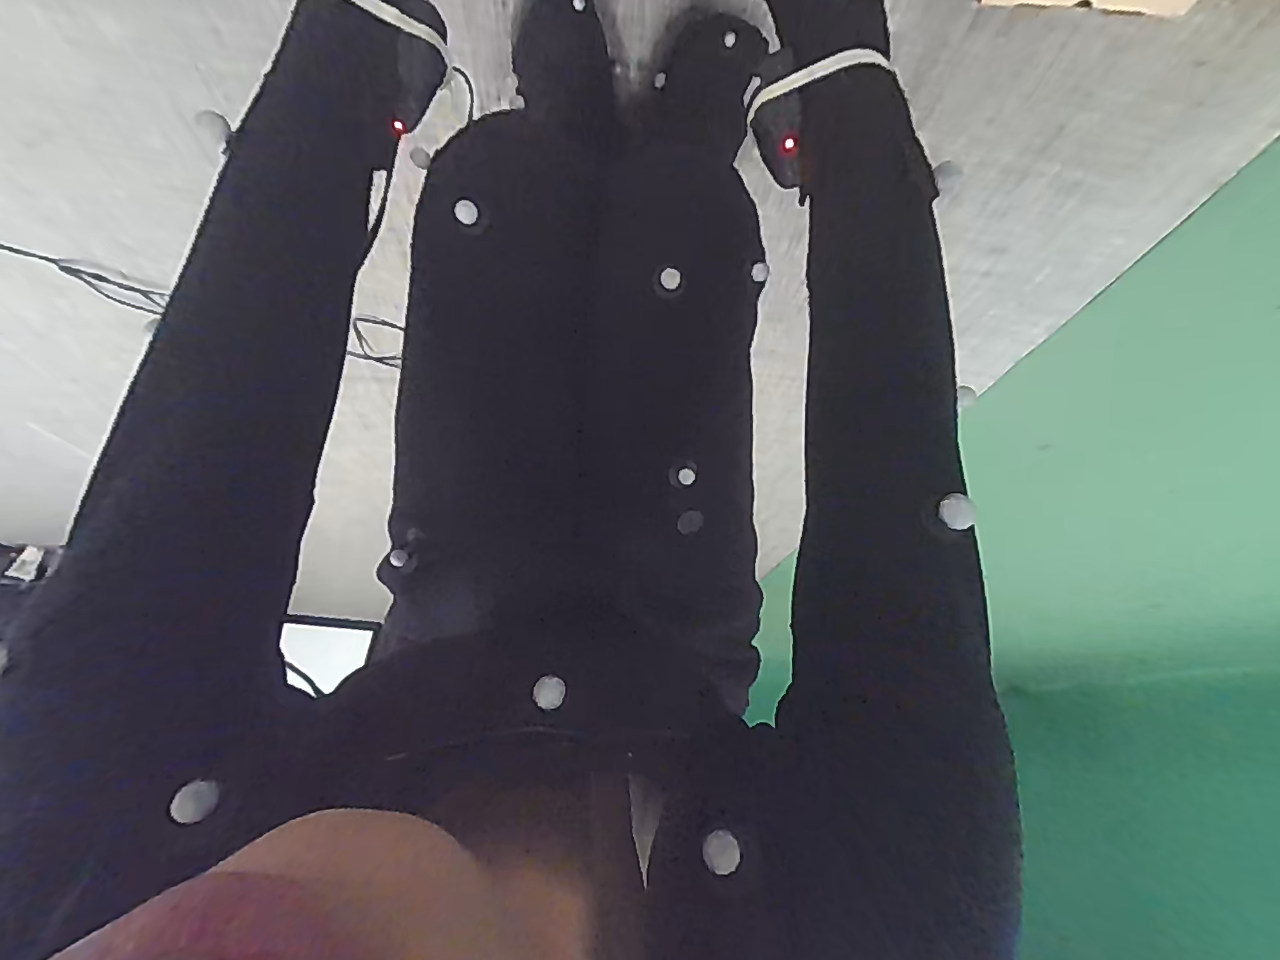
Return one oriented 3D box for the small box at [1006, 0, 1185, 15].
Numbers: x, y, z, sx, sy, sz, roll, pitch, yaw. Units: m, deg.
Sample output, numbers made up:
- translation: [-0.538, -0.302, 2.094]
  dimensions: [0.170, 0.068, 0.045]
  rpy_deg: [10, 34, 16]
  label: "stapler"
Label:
- translation: [0.365, -0.496, 0.398]
  dimensions: [0.168, 0.176, 0.179]
  rpy_deg: [4, 154, 0]
  label: "small box"
